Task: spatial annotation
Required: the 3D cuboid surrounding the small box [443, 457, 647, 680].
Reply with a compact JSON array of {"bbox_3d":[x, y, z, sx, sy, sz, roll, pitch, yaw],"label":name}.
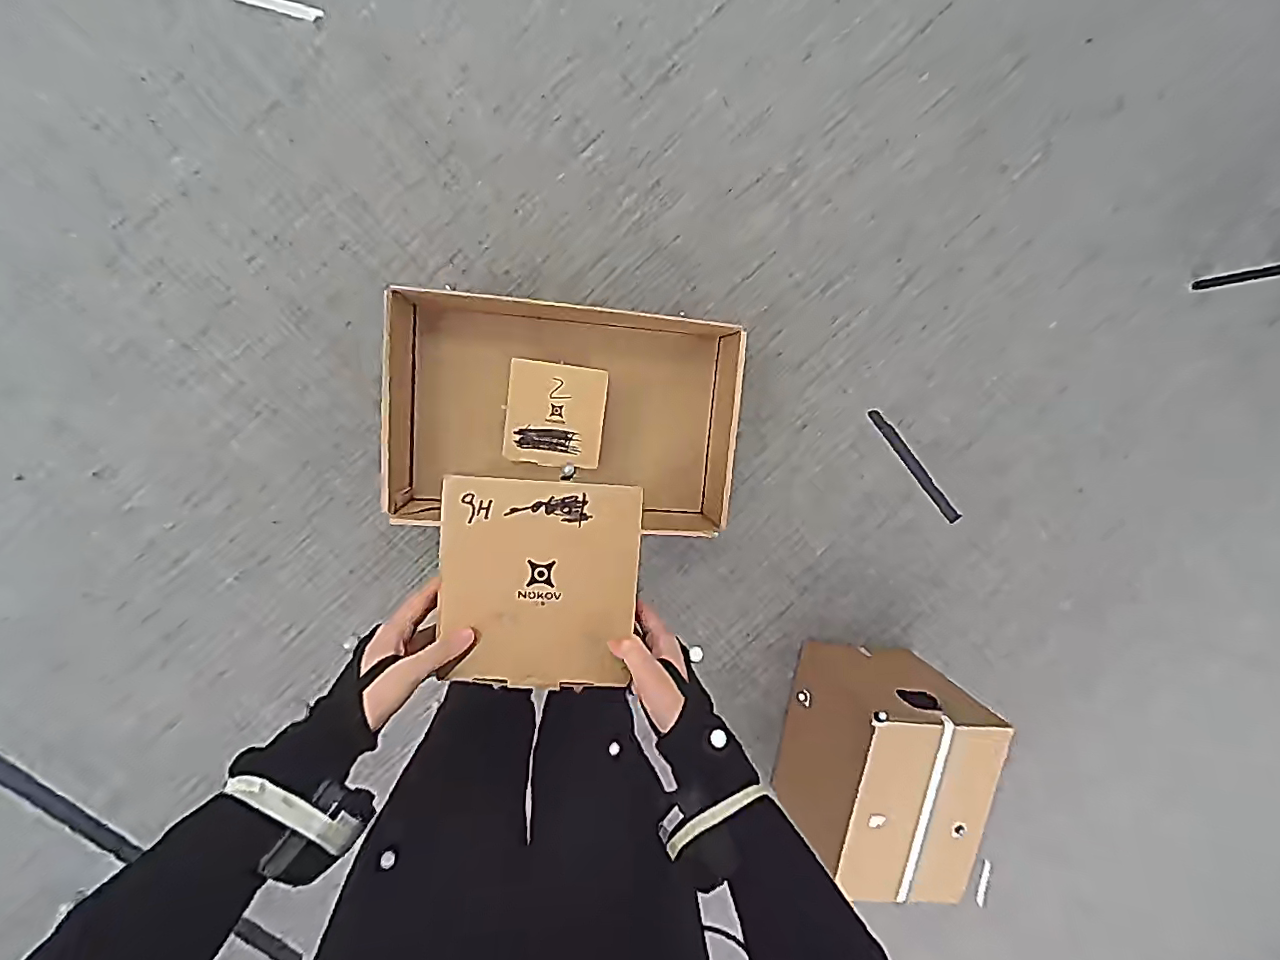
[{"bbox_3d":[-0.087,0.075,0.536,0.168,0.176,0.179,3,96,-5],"label":"small box"}]
